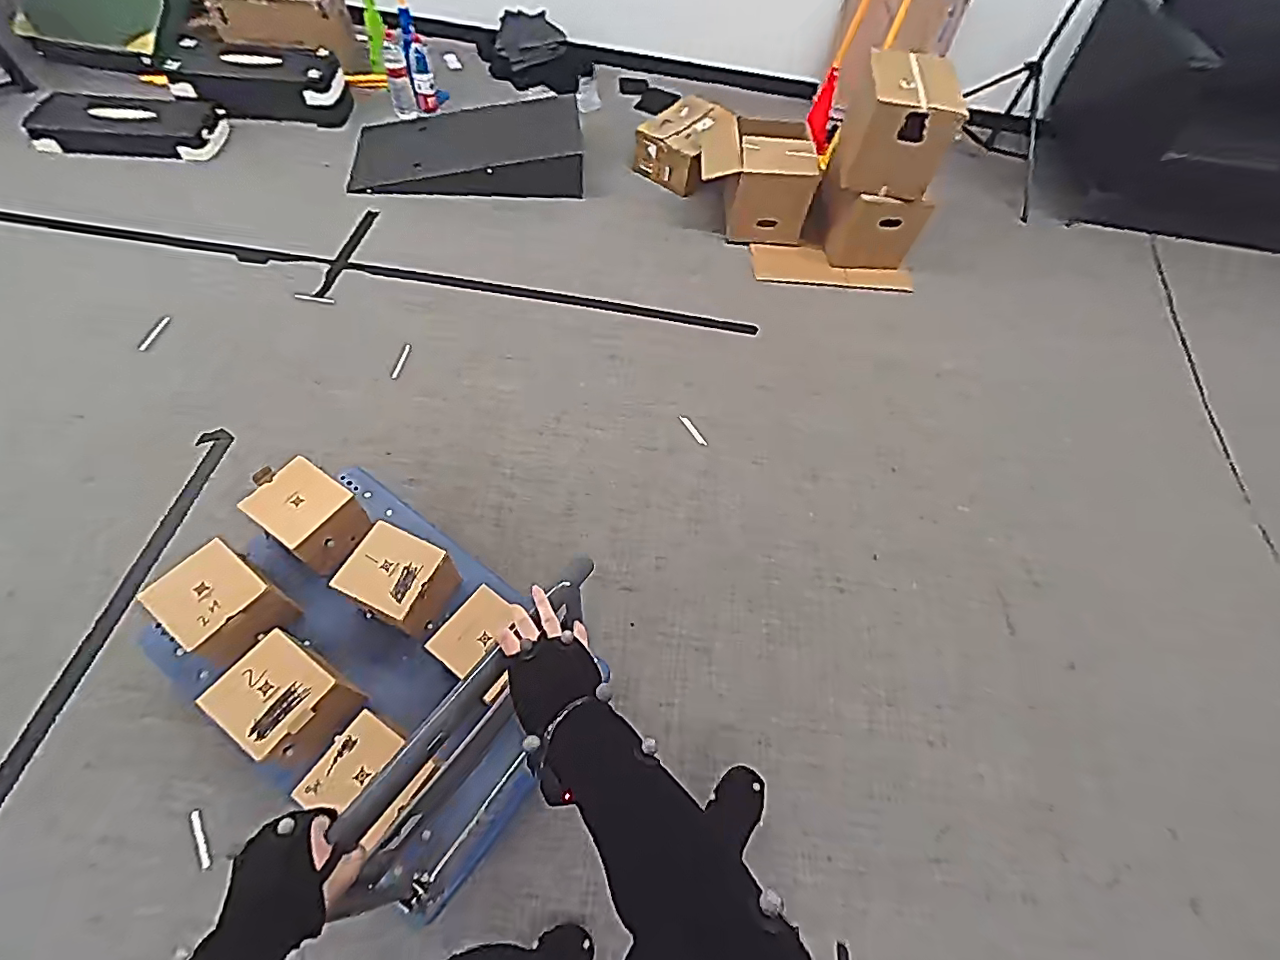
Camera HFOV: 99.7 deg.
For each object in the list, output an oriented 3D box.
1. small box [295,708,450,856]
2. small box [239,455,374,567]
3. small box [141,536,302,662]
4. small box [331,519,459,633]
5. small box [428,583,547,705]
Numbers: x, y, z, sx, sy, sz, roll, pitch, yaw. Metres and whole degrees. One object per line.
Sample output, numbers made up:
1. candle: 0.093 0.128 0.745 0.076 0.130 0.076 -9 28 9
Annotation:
1. small box: -0.481 0.554 1.005 0.179 0.176 0.168 32 60 11
2. small box: -0.755 0.080 1.246 0.179 0.176 0.168 32 61 11
3. small box: -0.861 0.254 1.129 0.179 0.176 0.168 37 62 13
4. small box: -0.526 0.220 1.195 0.179 0.176 0.168 24 60 7
5. small box: -0.311 0.354 1.146 0.179 0.176 0.168 35 61 13
